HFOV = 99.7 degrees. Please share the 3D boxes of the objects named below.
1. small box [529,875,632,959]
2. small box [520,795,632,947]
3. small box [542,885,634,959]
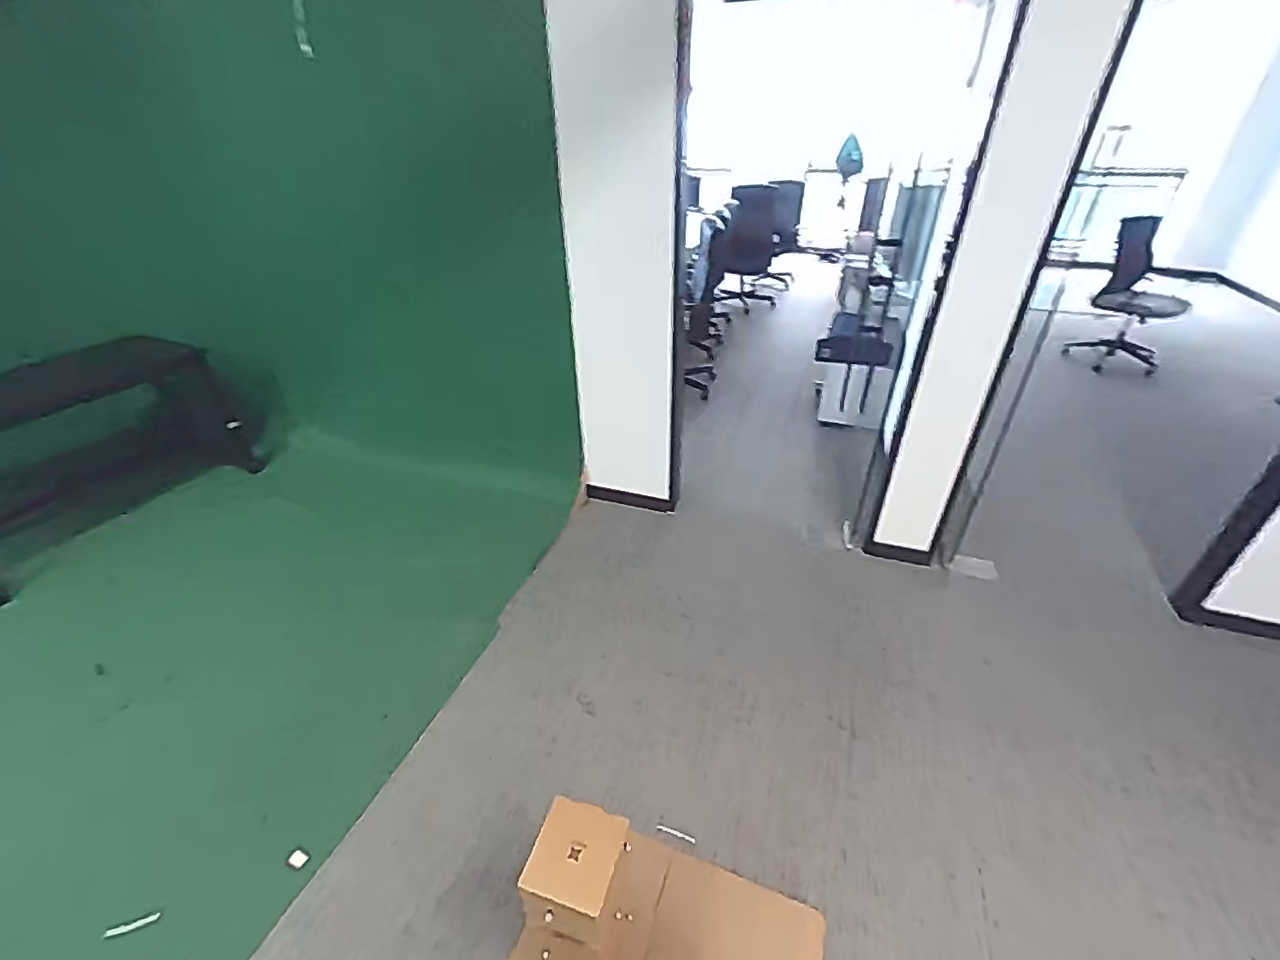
[{"bbox_3d":[-0.119,0.919,1.175,0.168,0.176,0.179,9,34,15],"label":"small box"},{"bbox_3d":[-0.116,0.784,1.085,0.168,0.176,0.179,9,34,16],"label":"small box"},{"bbox_3d":[-0.115,1.055,1.264,0.168,0.176,0.179,7,35,13],"label":"small box"}]
